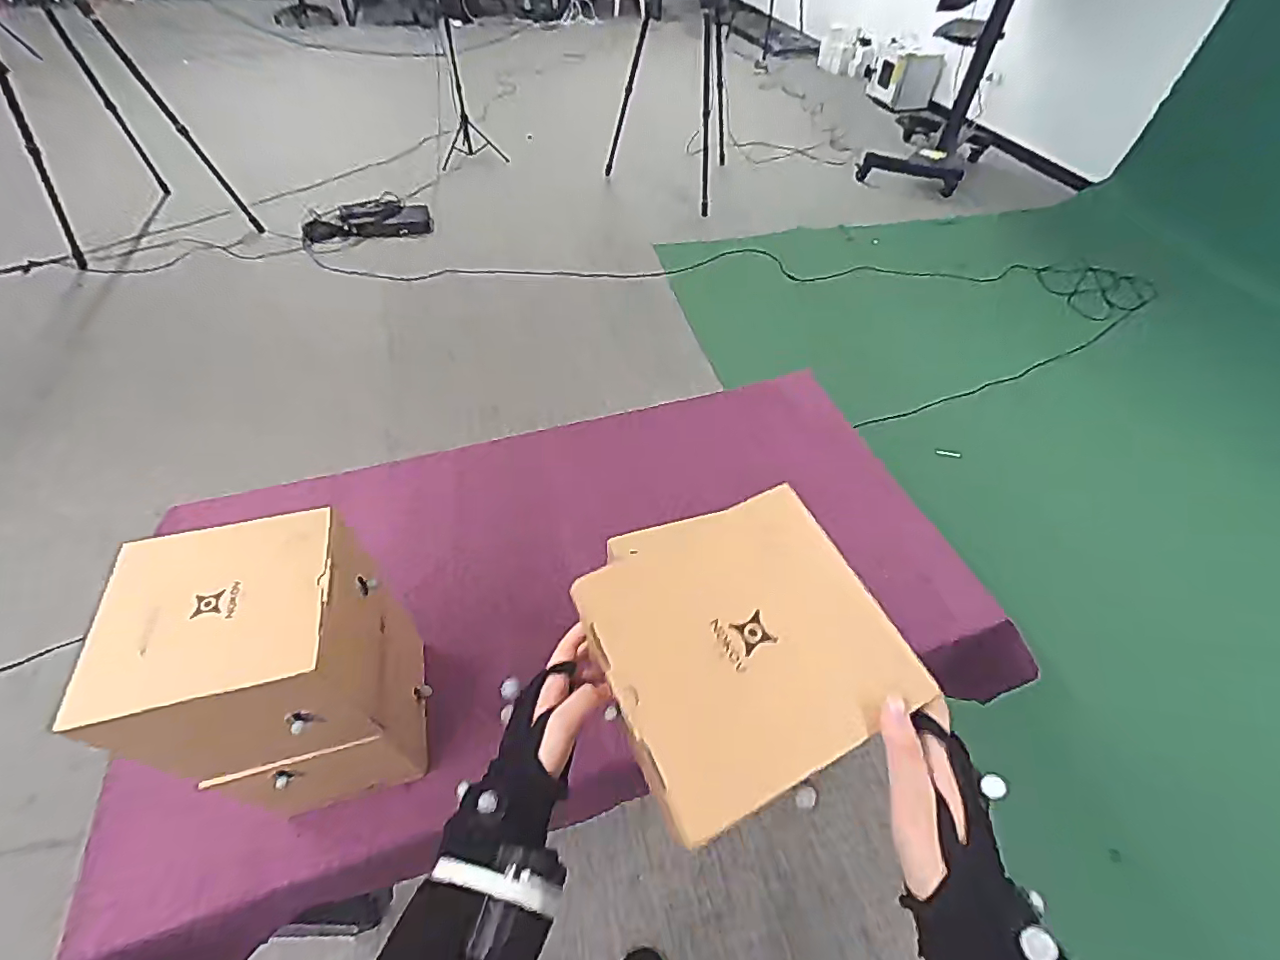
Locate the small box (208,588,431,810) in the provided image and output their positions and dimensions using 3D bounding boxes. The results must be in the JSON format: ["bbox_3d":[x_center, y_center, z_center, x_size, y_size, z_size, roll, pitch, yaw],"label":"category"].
[{"bbox_3d":[-0.354,0.258,0.637,0.168,0.176,0.179,-12,51,-11],"label":"small box"}]

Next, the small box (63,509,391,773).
[{"bbox_3d":[-0.350,0.153,0.510,0.179,0.176,0.168,-11,51,-10],"label":"small box"}]

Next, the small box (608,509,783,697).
[{"bbox_3d":[0.063,0.168,0.724,0.179,0.176,0.168,-12,52,-12],"label":"small box"}]
